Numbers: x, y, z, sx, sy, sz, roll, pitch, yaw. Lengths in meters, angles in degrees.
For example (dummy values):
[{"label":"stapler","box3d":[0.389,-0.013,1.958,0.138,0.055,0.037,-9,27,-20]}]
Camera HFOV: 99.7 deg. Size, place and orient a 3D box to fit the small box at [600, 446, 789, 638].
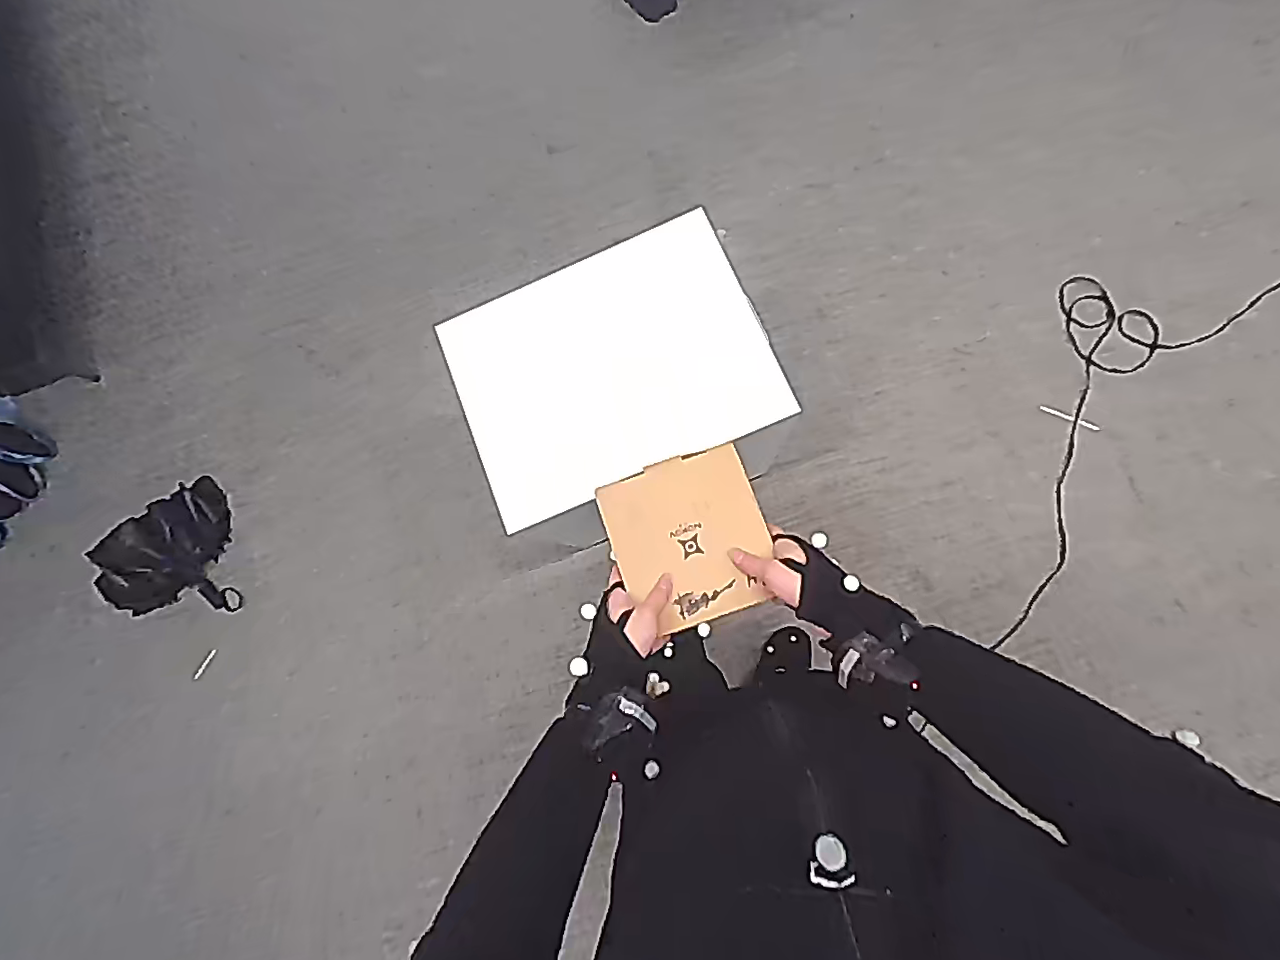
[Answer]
[{"label":"small box","box3d":[0.063,0.082,0.666,0.168,0.176,0.179,-19,77,2]}]
